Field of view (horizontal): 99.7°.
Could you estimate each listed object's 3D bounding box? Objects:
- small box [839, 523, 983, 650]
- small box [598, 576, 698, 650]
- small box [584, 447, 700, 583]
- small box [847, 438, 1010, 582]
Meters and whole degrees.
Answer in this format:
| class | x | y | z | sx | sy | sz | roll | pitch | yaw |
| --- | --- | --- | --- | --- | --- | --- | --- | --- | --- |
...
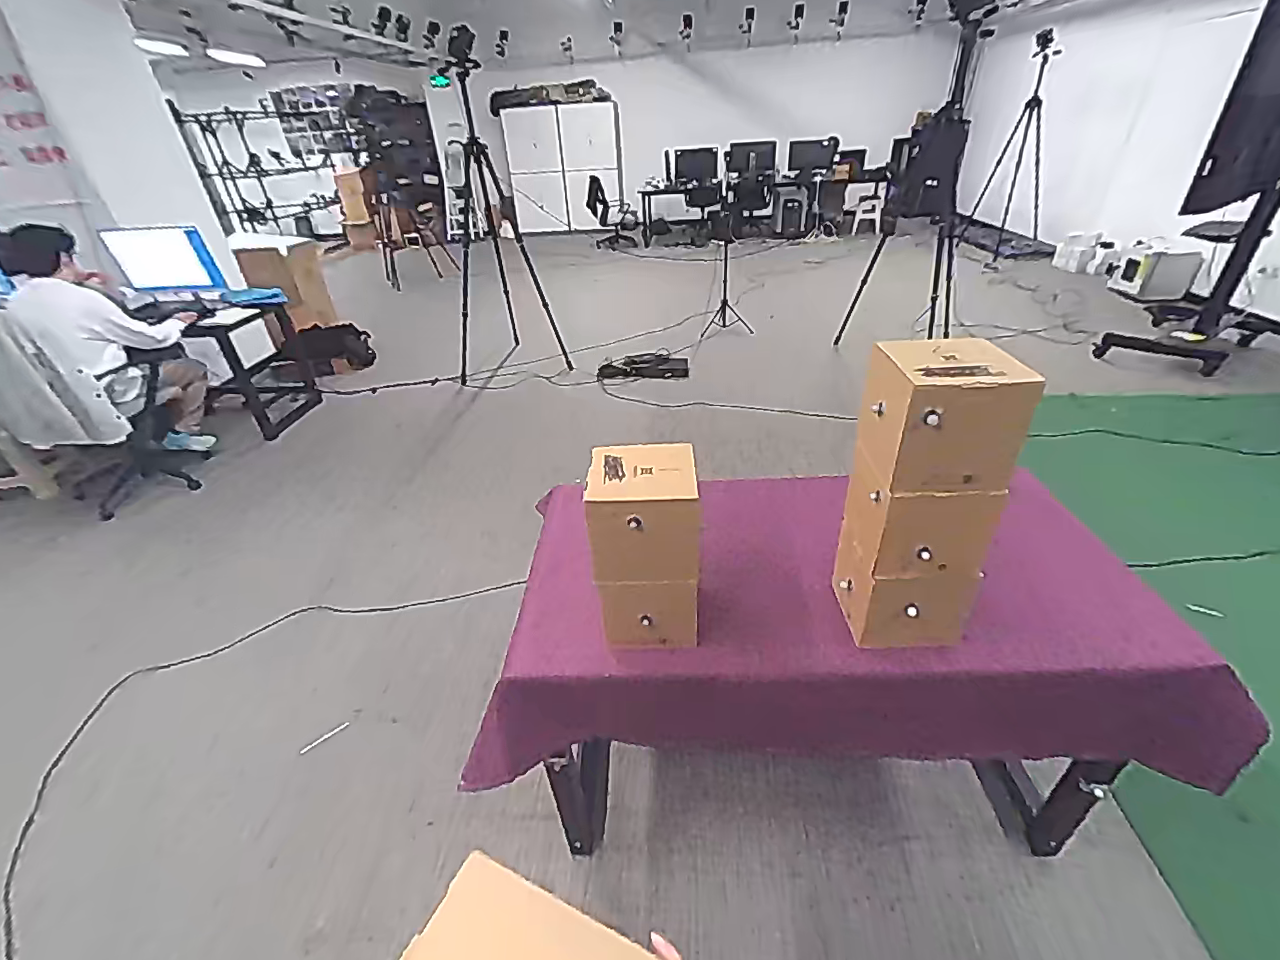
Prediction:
| class | x | y | z | sx | sy | sz | roll | pitch | yaw |
| --- | --- | --- | --- | --- | --- | --- | --- | --- | --- |
| small box | 0.467 | 0.186 | 0.967 | 0.179 | 0.176 | 0.168 | -3 | 33 | 3 |
| small box | 0.021 | 0.197 | 1.003 | 0.168 | 0.176 | 0.179 | -2 | 32 | 3 |
| small box | 0.009 | 0.060 | 0.914 | 0.179 | 0.176 | 0.168 | -2 | 33 | 3 |
| small box | 0.453 | 0.046 | 0.885 | 0.168 | 0.176 | 0.179 | -2 | 33 | 4 |
